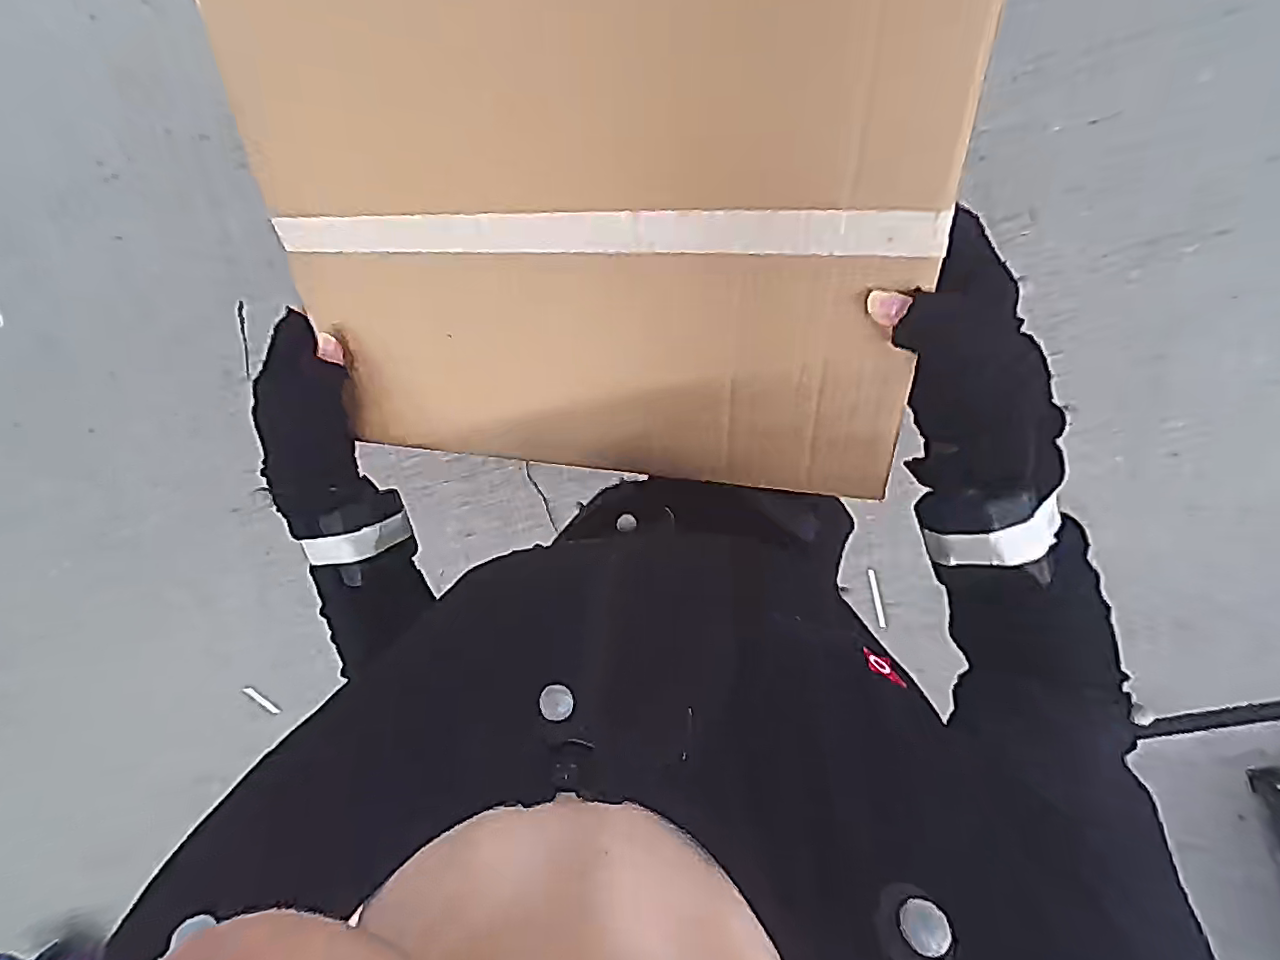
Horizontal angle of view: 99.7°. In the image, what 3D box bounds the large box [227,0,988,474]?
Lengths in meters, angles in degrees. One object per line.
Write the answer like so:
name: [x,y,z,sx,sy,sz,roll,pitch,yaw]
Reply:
large box: [-0.004,-0.227,0.444,0.408,0.320,0.320,6,123,13]
